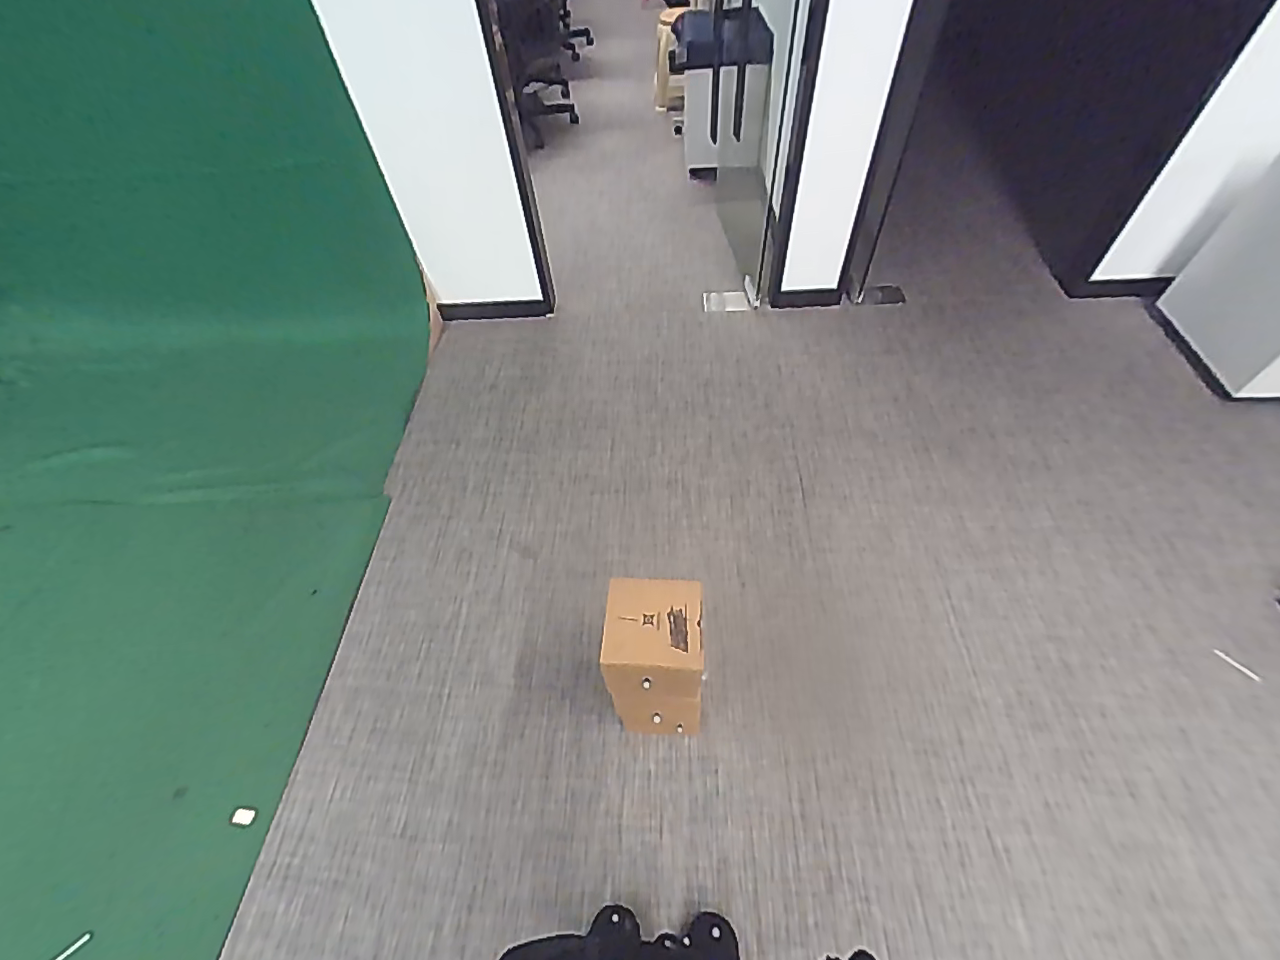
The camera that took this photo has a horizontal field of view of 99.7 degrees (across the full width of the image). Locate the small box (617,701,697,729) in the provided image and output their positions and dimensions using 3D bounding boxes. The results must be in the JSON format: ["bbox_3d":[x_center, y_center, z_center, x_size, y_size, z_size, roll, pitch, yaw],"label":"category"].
[{"bbox_3d":[0.046,0.492,1.299,0.179,0.176,0.168,0,53,5],"label":"small box"}]

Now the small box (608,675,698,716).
[{"bbox_3d":[0.036,0.399,1.165,0.179,0.176,0.168,4,54,6],"label":"small box"}]

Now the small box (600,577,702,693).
[{"bbox_3d":[0.023,0.299,1.034,0.179,0.176,0.168,1,53,3],"label":"small box"}]
